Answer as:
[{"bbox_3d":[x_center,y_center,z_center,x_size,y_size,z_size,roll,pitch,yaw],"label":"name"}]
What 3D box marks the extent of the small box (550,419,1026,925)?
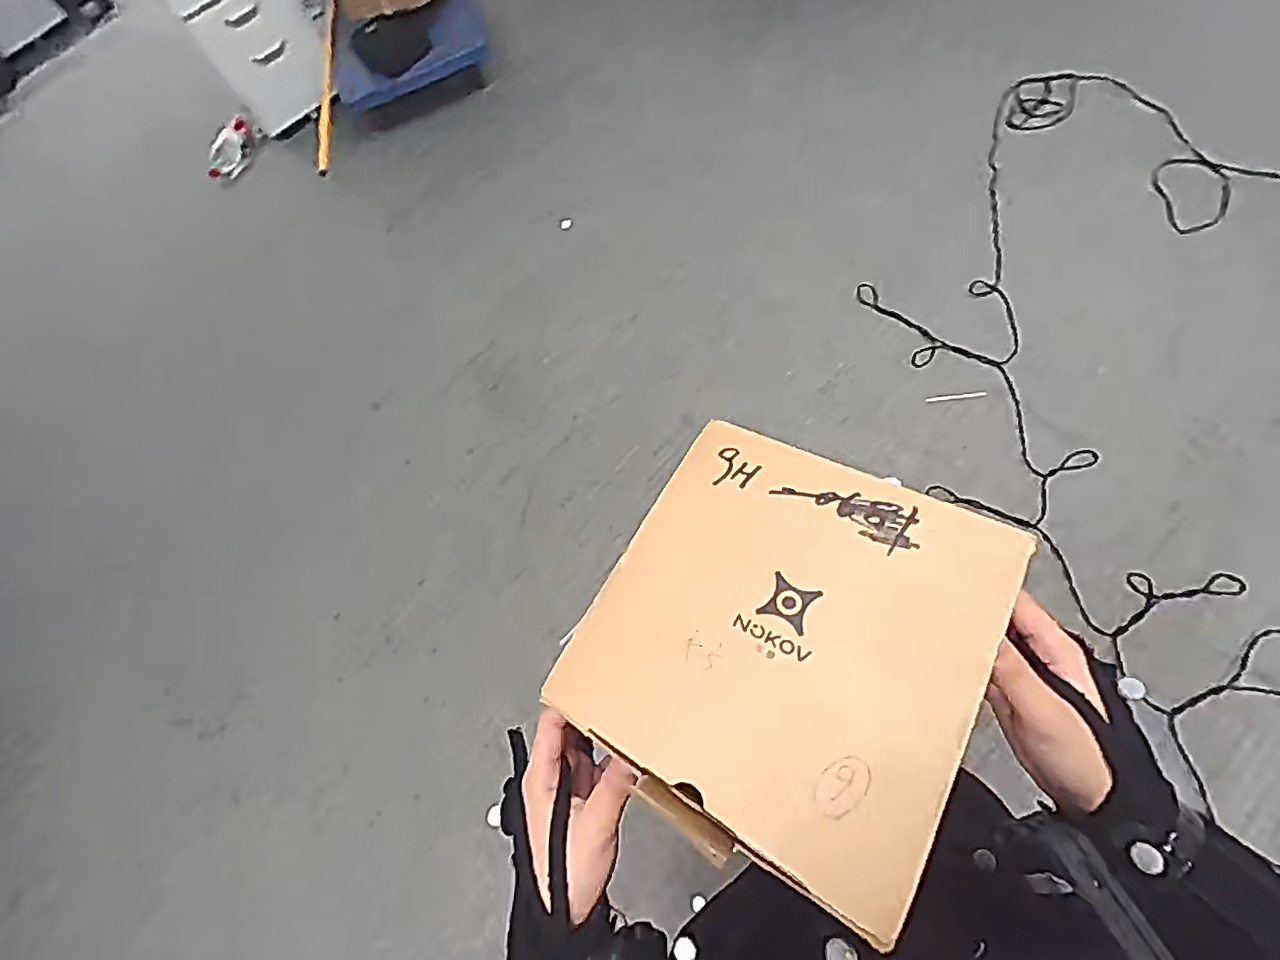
[{"bbox_3d":[0.084,0.100,0.323,0.168,0.176,0.179,25,72,25],"label":"small box"}]
